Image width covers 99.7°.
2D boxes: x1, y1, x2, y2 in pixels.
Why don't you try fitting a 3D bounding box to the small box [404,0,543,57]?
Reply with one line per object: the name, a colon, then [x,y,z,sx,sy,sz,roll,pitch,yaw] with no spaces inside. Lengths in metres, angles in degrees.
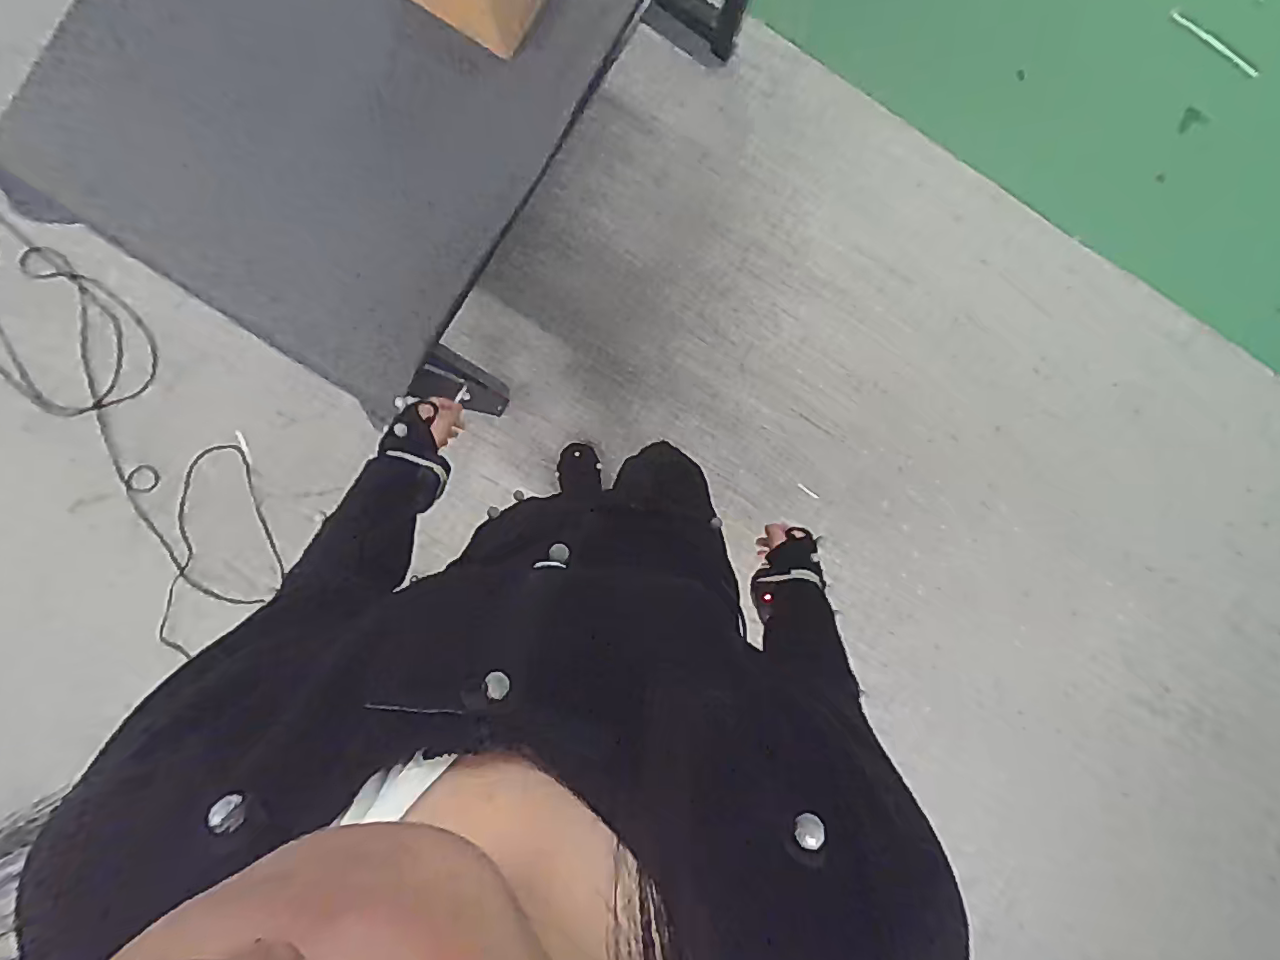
small box: [-0.212,-0.661,0.636,0.179,0.176,0.168,31,92,-4]
